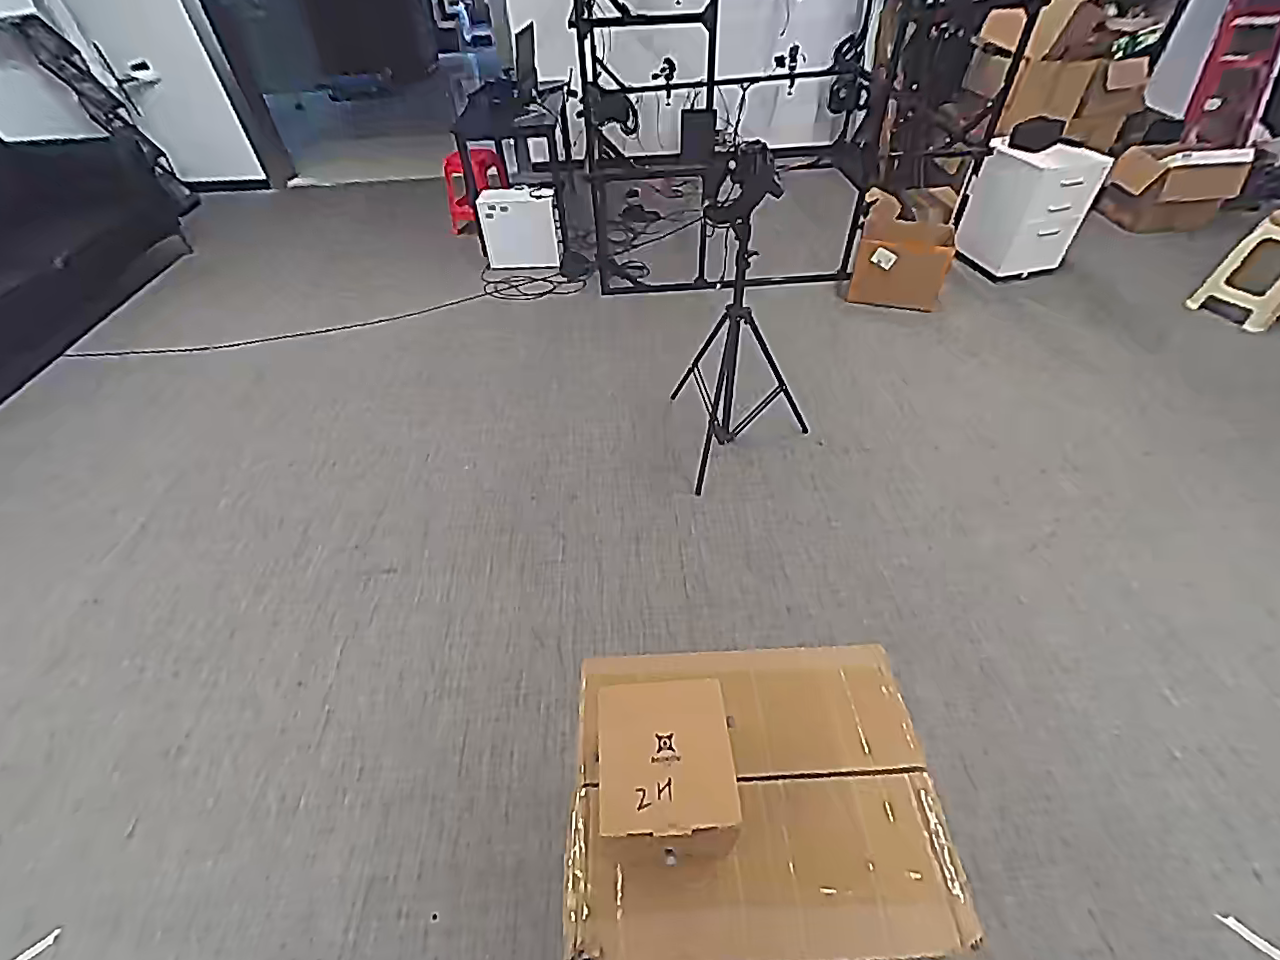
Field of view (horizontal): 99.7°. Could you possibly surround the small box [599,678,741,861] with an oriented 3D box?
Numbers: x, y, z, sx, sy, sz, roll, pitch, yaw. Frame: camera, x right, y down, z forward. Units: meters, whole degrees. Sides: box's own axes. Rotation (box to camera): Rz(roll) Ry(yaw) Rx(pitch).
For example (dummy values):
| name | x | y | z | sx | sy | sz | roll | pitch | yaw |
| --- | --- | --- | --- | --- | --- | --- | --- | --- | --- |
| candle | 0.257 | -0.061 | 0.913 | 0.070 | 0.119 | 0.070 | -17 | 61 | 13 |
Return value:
| name | x | y | z | sx | sy | sz | roll | pitch | yaw |
| --- | --- | --- | --- | --- | --- | --- | --- | --- | --- |
| small box | 0.031 | 0.390 | 0.729 | 0.168 | 0.176 | 0.179 | -4 | 47 | -1 |
